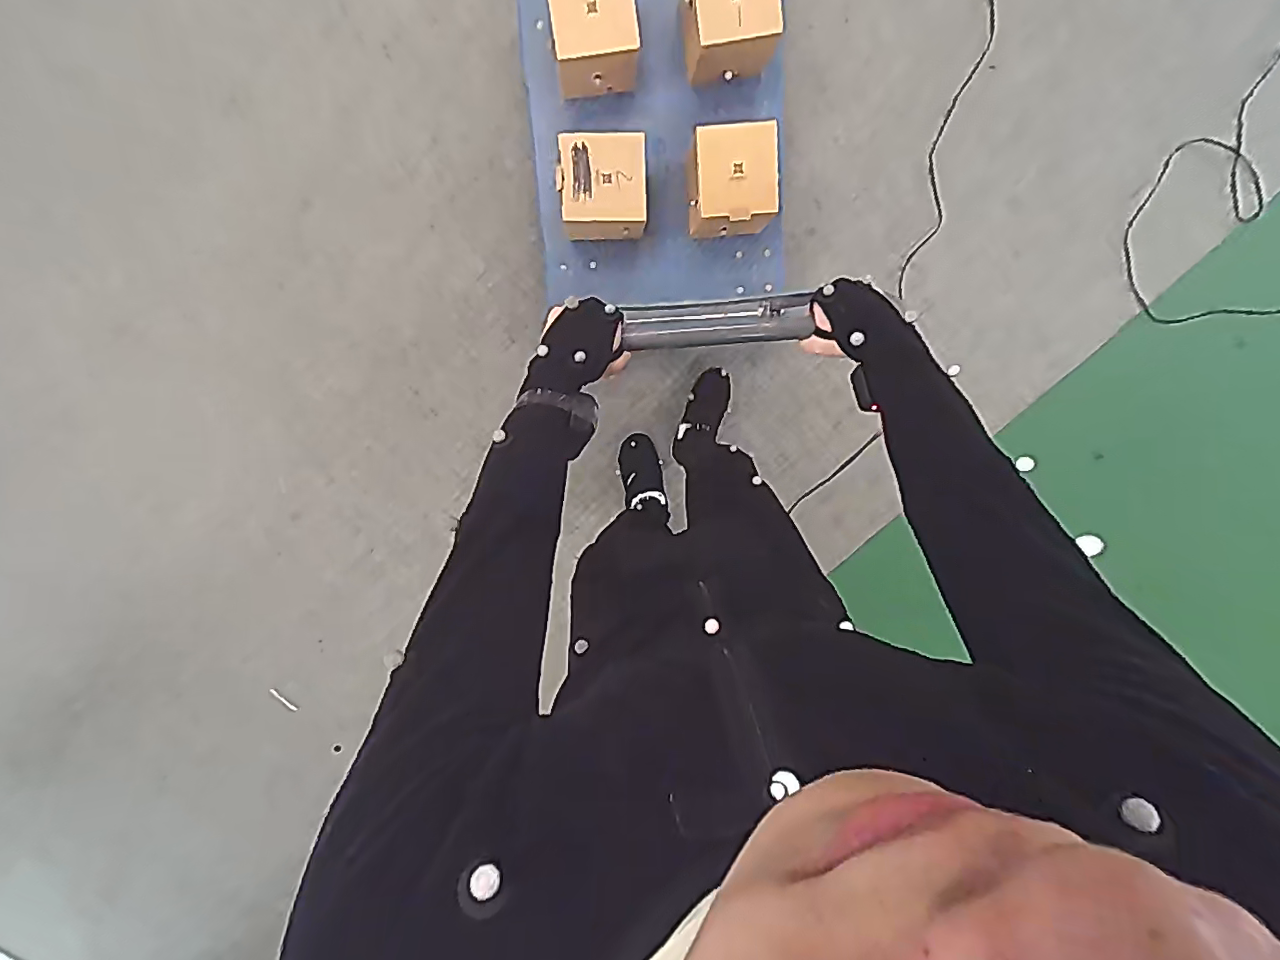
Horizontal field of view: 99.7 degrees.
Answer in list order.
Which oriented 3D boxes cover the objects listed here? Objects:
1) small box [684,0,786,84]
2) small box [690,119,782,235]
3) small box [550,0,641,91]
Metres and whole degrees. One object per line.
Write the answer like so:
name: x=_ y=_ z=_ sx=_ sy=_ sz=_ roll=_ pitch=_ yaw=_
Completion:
small box: x=0.187 y=-0.957 z=1.105 sx=0.168 sy=0.176 sz=0.179 roll=-9 pitch=104 yaw=0
small box: x=0.202 y=-0.649 z=1.176 sx=0.168 sy=0.176 sz=0.179 roll=-5 pitch=103 yaw=-1
small box: x=-0.090 y=-0.925 z=1.100 sx=0.168 sy=0.176 sz=0.179 roll=-8 pitch=103 yaw=-1
